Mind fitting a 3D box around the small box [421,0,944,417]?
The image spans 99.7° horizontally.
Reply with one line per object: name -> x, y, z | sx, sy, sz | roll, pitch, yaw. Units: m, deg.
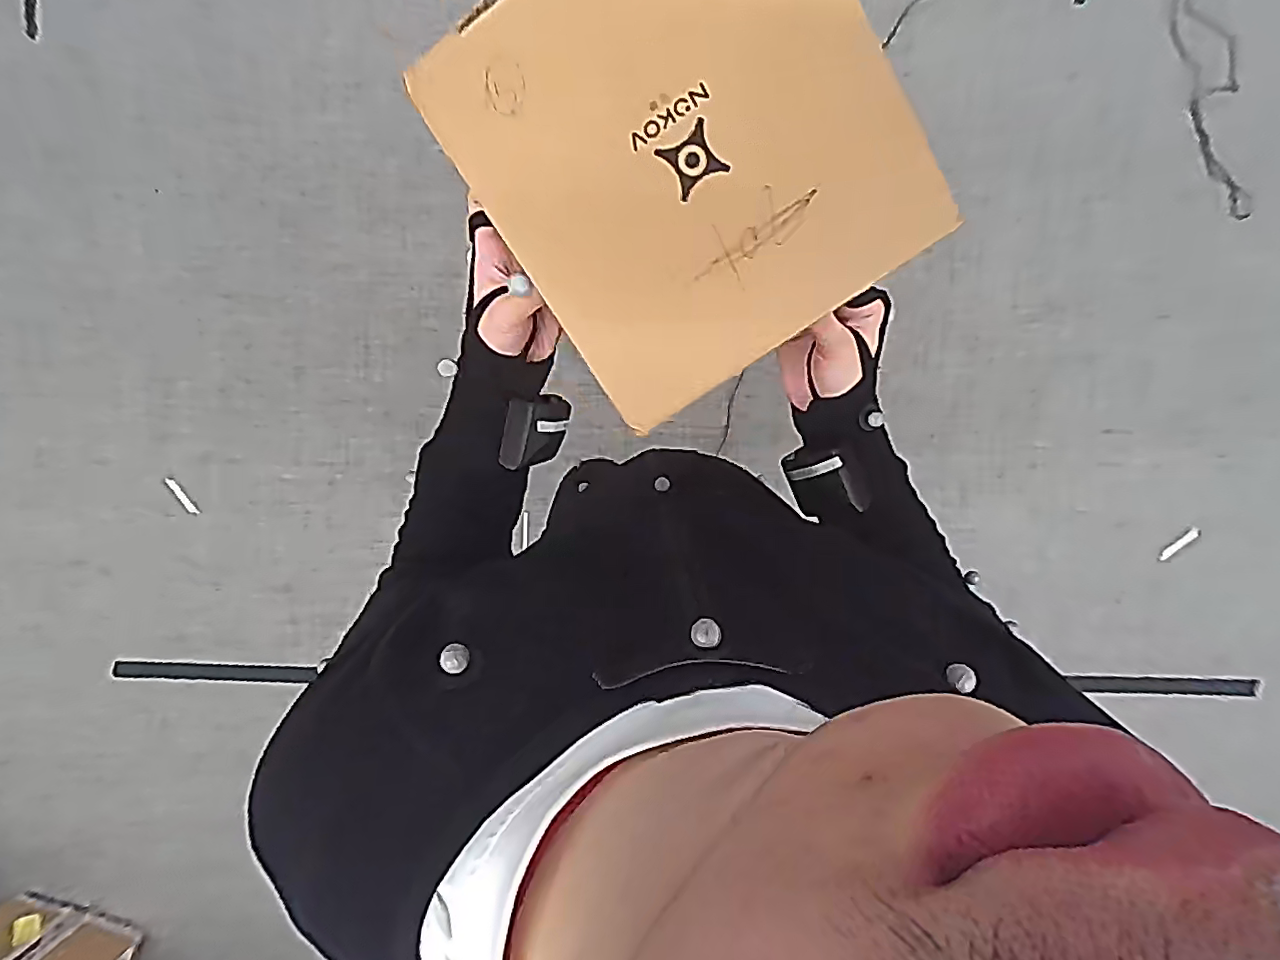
small box -> 0.020, -0.159, 0.309 | 0.168, 0.176, 0.179 | -34, 103, 8
